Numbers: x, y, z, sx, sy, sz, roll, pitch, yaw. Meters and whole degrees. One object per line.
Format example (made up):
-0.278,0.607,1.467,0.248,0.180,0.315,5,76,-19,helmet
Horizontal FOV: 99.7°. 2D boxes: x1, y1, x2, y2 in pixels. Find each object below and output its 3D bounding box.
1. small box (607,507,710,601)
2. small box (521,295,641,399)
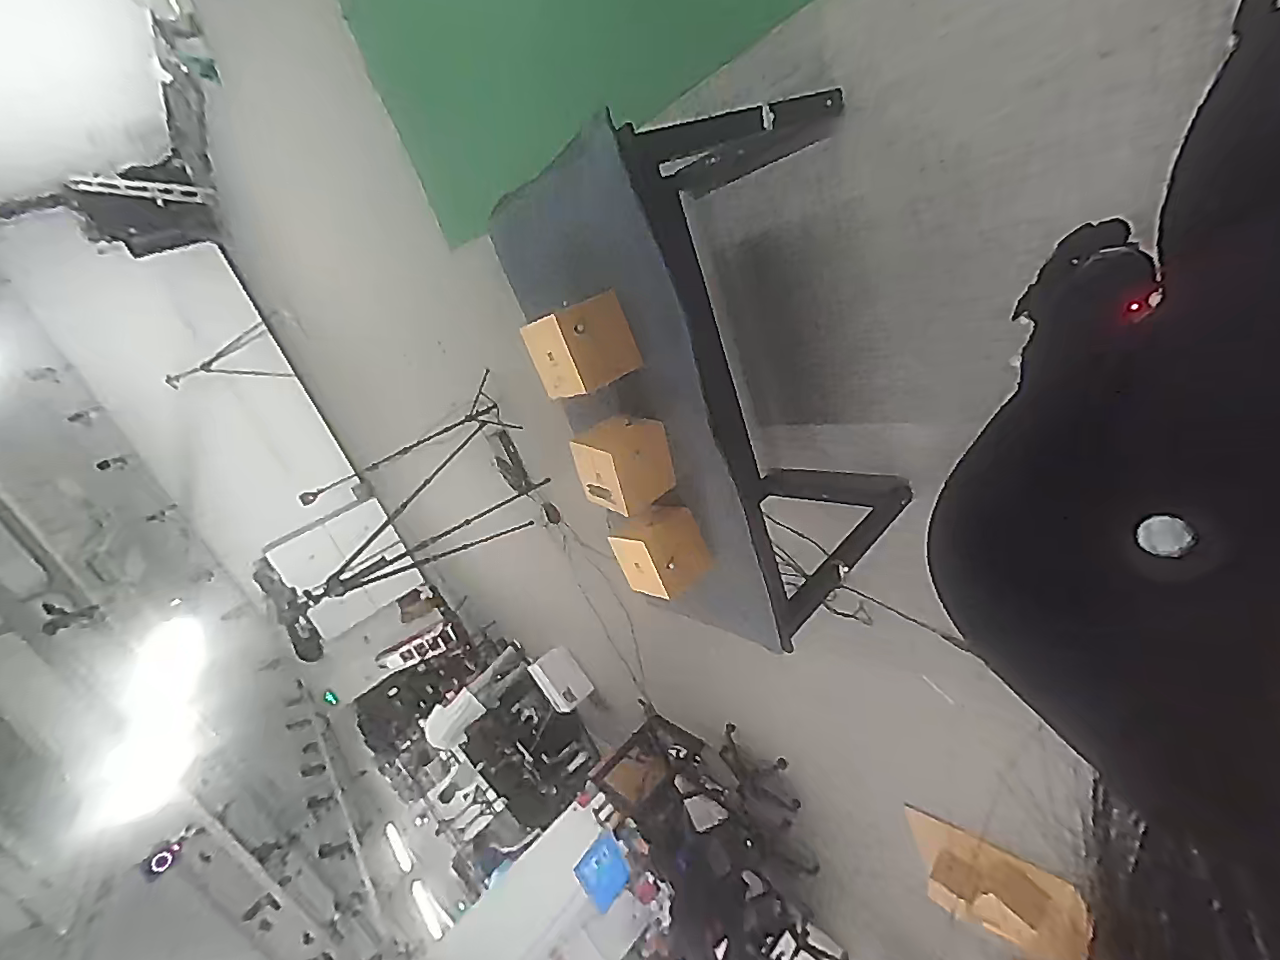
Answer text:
0.051,0.184,1.405,0.168,0.176,0.179,-1,118,54,small box
-0.129,-0.297,1.202,0.168,0.176,0.179,4,122,53,small box
